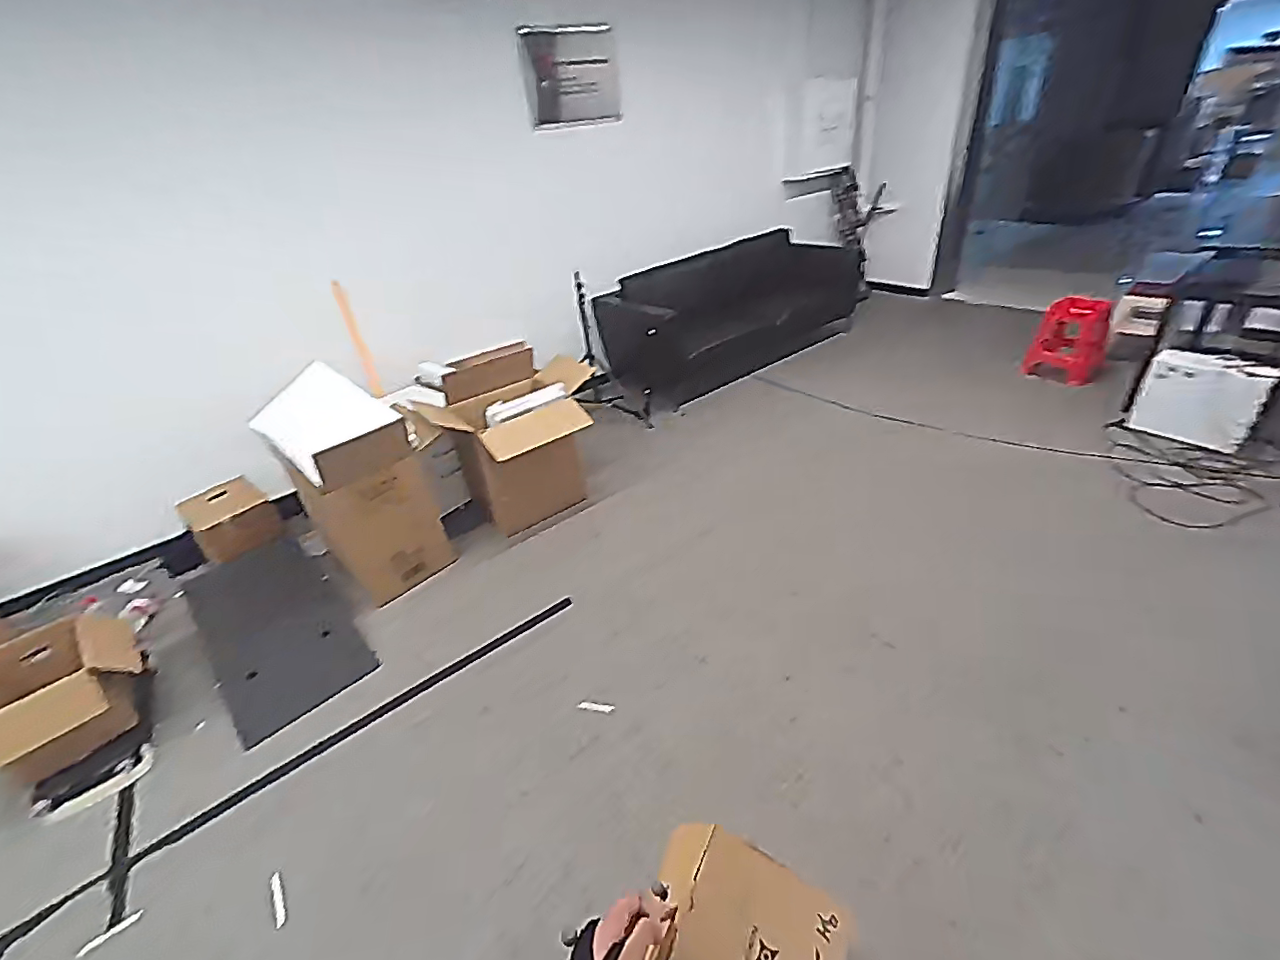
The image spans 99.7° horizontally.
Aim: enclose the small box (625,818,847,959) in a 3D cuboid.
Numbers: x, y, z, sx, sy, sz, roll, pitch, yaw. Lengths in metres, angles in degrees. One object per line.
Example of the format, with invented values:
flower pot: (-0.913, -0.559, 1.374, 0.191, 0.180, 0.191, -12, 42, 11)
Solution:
small box: (0.100, 0.523, 0.622, 0.179, 0.176, 0.168, 29, 56, 6)
